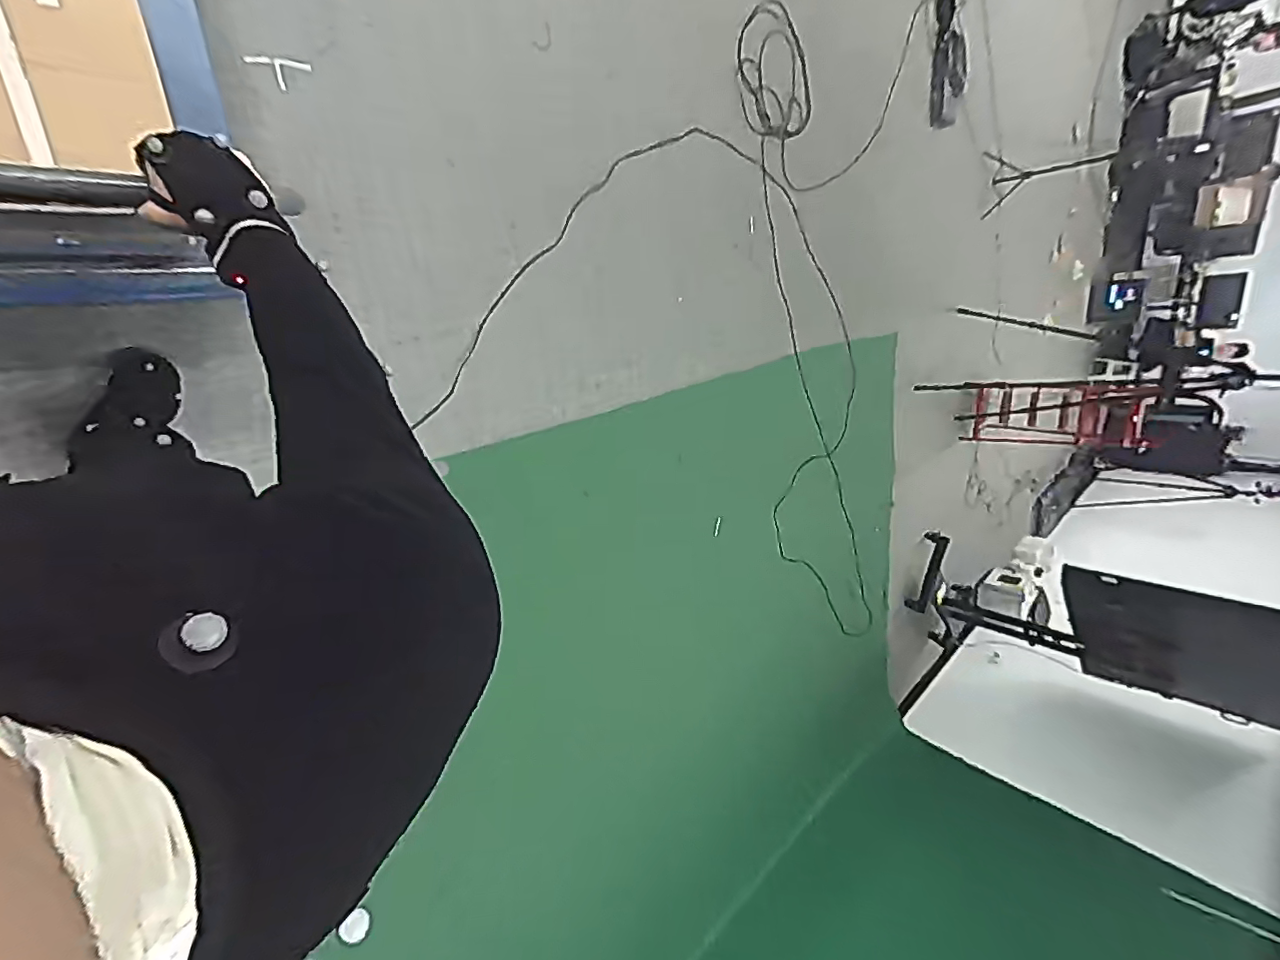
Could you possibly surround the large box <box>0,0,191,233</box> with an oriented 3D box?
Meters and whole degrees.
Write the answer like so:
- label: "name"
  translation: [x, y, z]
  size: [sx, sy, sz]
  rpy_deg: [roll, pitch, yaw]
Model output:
- label: "large box"
  translation: [-0.927, -0.609, 0.806]
  size: [0.320, 0.320, 0.408]
  rpy_deg: [-18, 110, -38]
